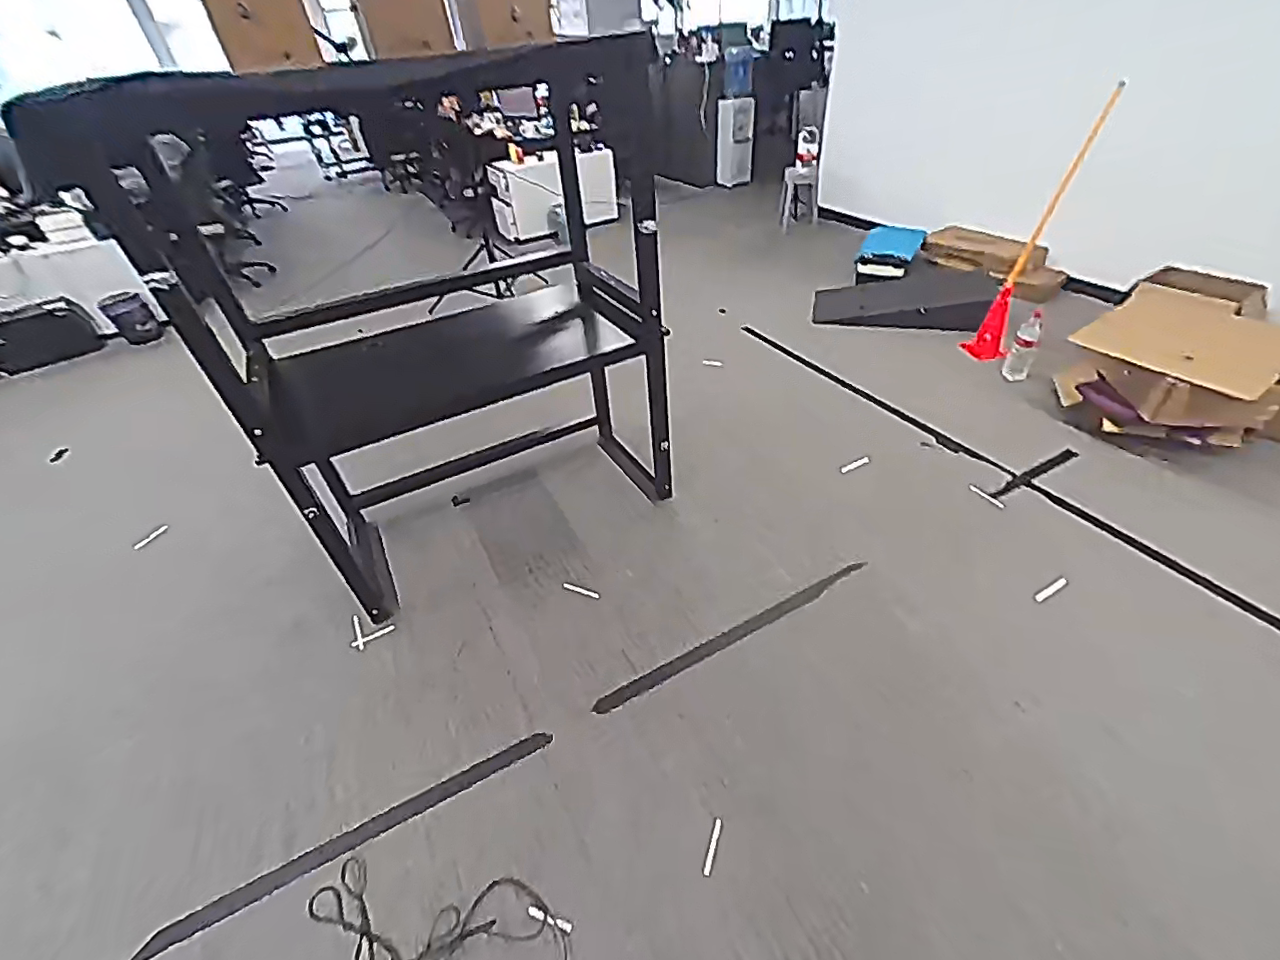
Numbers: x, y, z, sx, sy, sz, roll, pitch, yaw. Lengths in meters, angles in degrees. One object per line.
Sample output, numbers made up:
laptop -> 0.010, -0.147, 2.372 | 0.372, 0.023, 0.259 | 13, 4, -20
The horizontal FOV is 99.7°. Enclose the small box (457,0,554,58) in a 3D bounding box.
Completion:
small box -> -0.307, -1.053, 1.201 | 0.168, 0.176, 0.179 | -22, 42, -17

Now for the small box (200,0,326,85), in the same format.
small box -> -0.737, -0.890, 1.061 | 0.168, 0.176, 0.179 | -20, 41, -17
